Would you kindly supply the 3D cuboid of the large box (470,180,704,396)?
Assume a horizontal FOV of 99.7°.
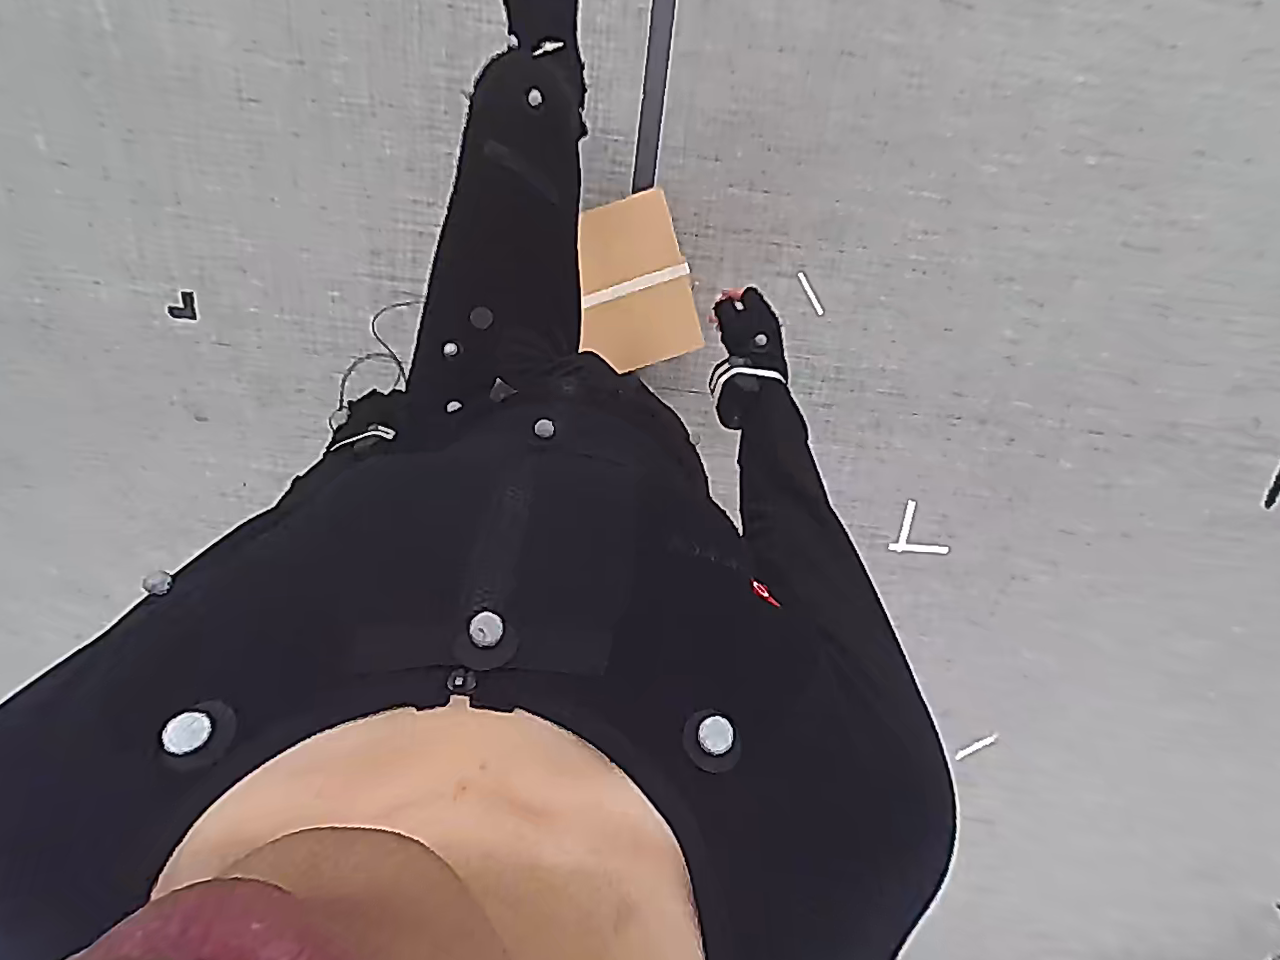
[{"bbox_3d":[-0.099,-0.424,1.221,0.408,0.320,0.320,-16,109,7],"label":"large box"}]
